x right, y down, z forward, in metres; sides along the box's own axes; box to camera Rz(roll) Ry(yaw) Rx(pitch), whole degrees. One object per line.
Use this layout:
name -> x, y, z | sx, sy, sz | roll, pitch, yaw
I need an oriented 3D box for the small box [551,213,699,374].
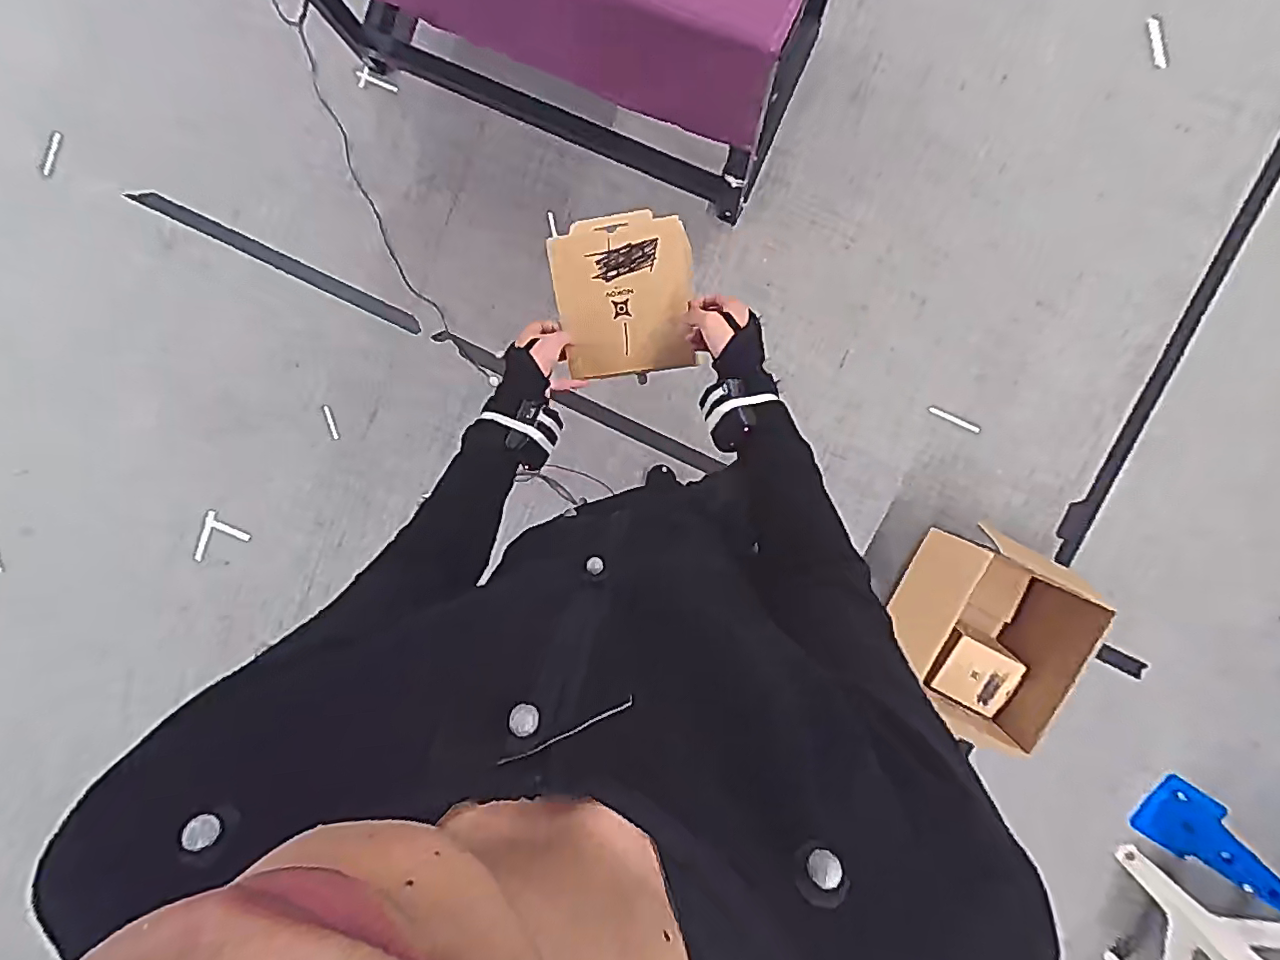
small box -> -0.011, -0.246, 0.756 | 0.168, 0.176, 0.179 | -6, 101, 11
